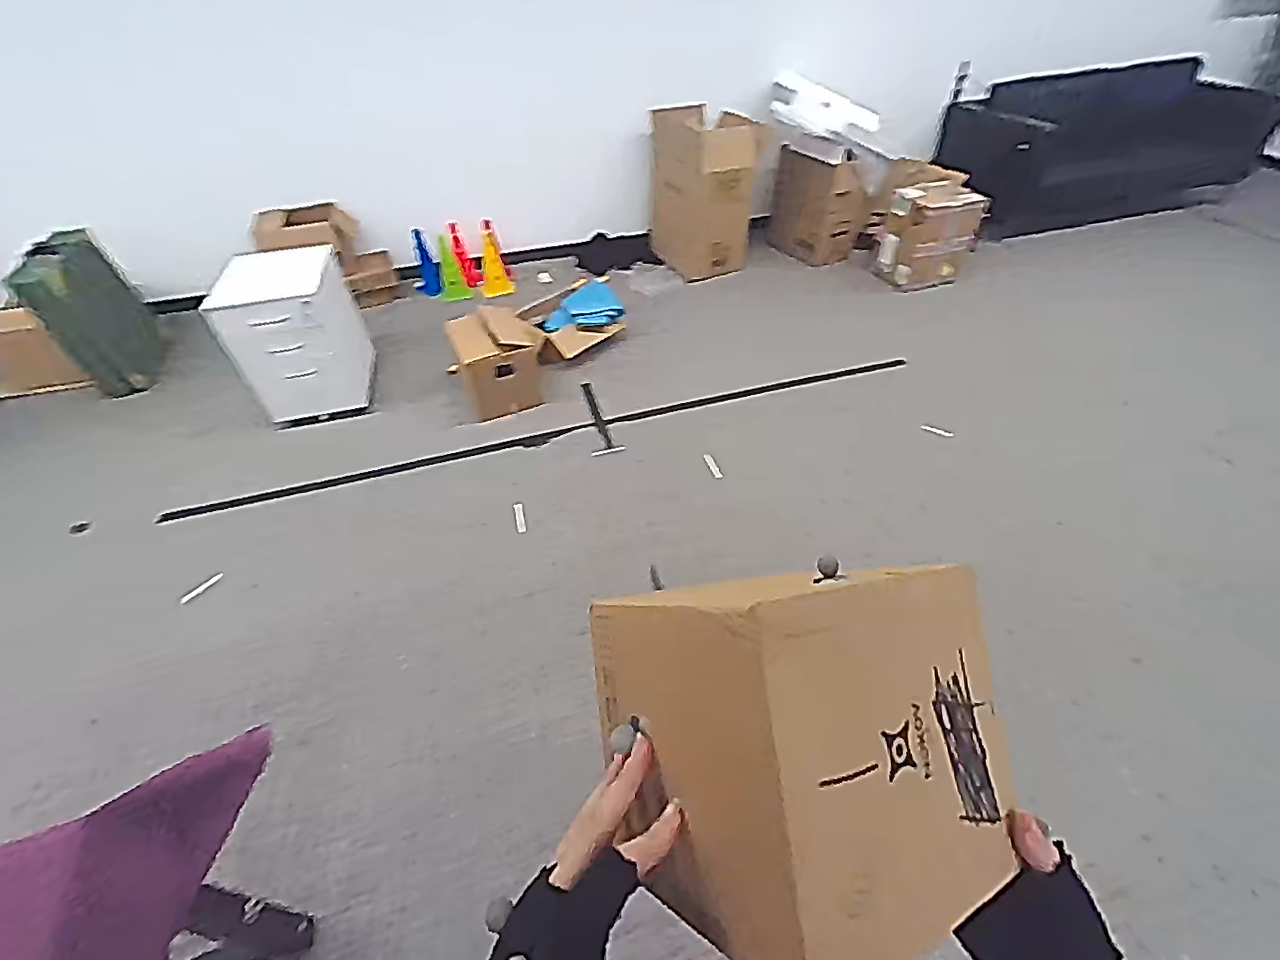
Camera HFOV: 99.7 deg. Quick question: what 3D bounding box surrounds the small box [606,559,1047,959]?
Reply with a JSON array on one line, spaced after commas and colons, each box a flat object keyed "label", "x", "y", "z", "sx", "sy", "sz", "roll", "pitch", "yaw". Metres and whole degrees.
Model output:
[{"label": "small box", "x": 0.098, "y": 0.139, "z": 0.329, "sx": 0.179, "sy": 0.176, "sz": 0.168, "roll": -1, "pitch": 78, "yaw": -30}]
